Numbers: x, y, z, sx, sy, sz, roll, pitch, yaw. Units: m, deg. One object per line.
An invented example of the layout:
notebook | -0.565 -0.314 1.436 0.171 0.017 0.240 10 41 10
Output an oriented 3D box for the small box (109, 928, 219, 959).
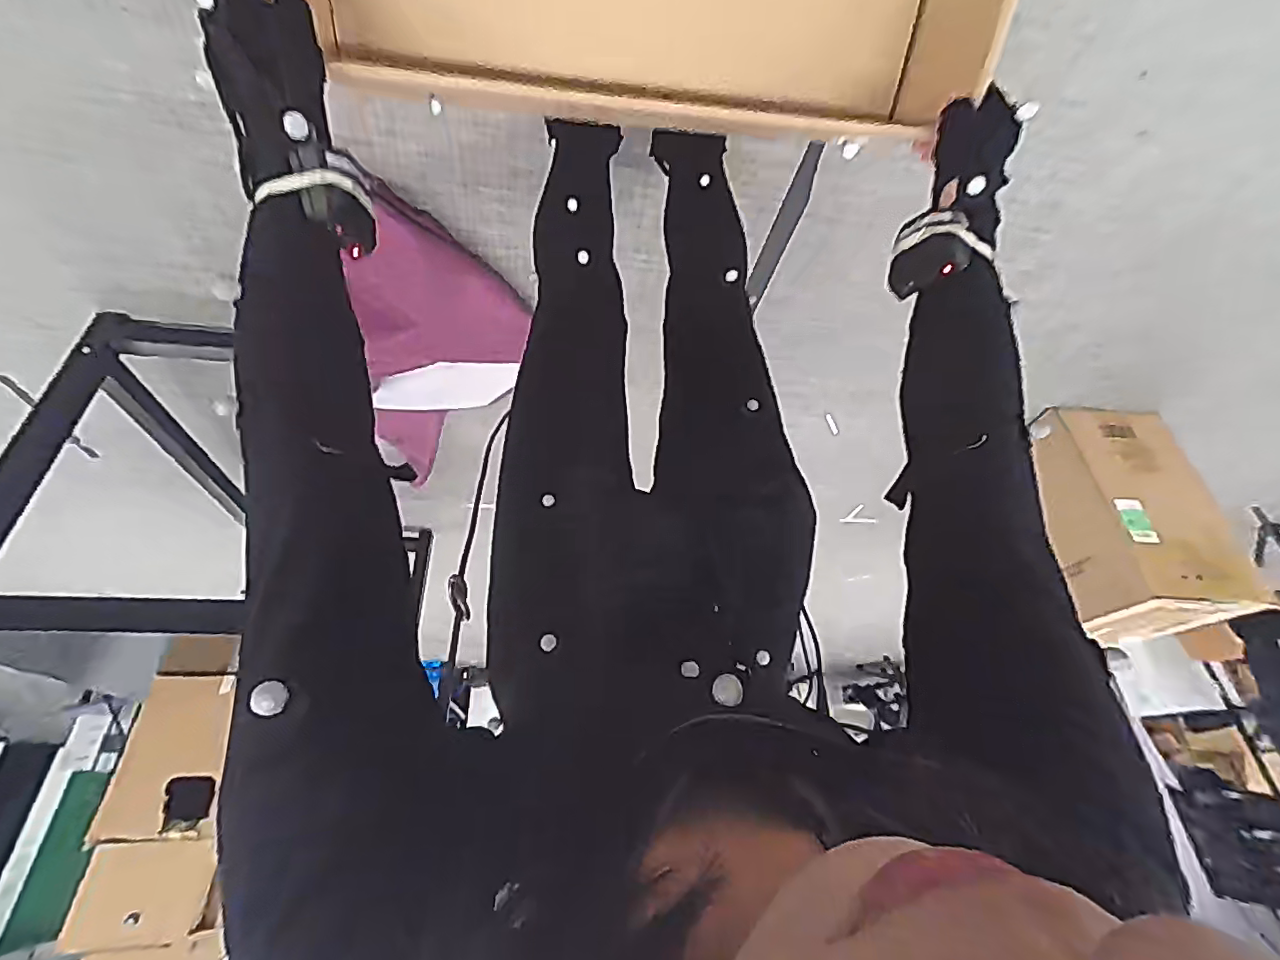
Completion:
small box | -0.968 0.996 1.053 0.179 0.176 0.168 -4 149 1

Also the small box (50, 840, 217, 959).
small box | -0.968 0.810 1.059 0.179 0.176 0.168 10 147 -18

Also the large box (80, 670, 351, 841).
large box | -0.945 0.662 1.288 0.320 0.320 0.408 2 148 -9
